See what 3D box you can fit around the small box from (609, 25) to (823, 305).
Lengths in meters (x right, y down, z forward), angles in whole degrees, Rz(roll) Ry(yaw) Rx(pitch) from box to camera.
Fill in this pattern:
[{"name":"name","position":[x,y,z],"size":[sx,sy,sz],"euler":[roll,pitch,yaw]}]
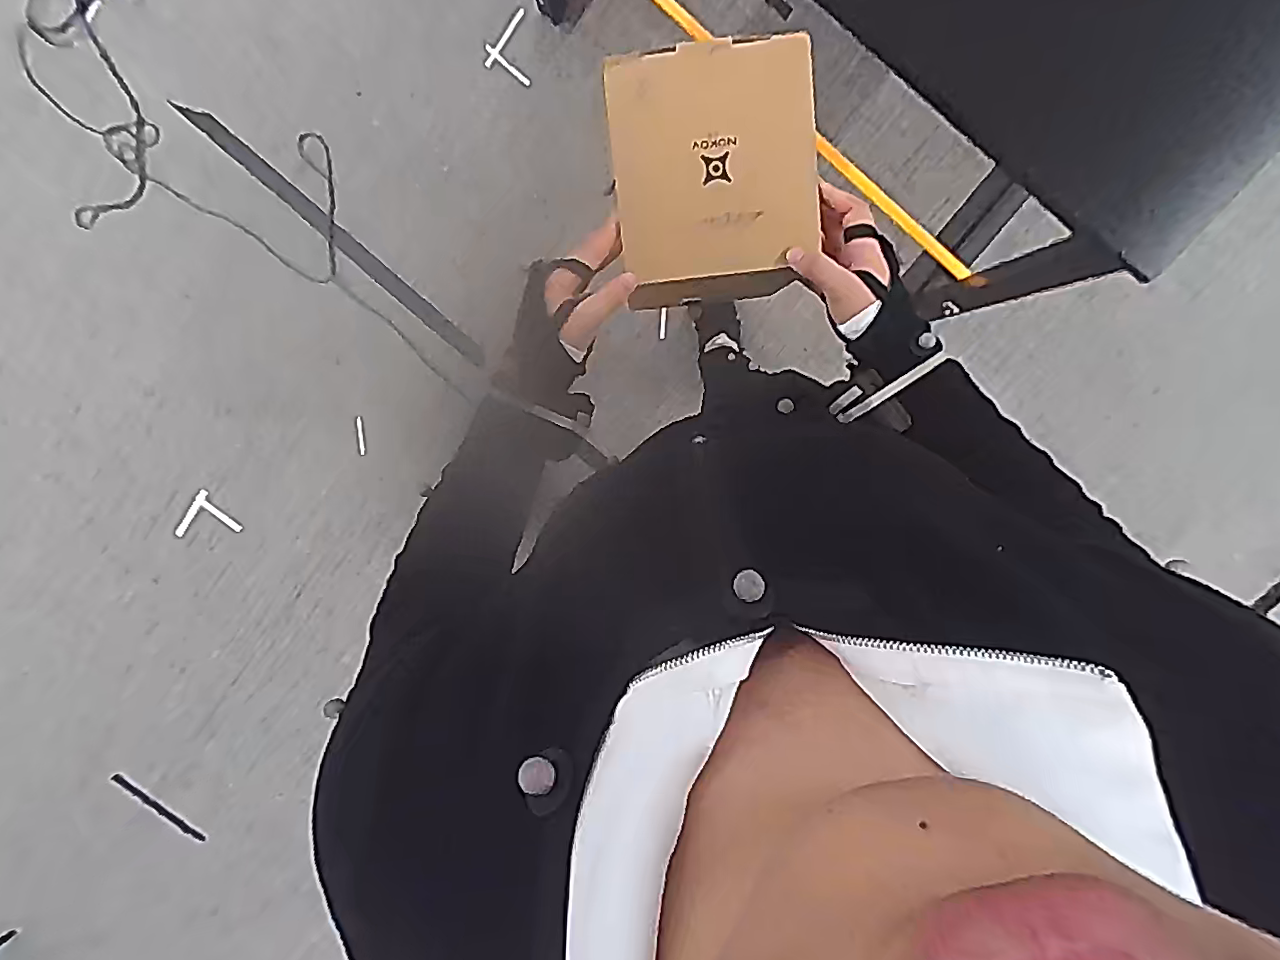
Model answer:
[{"name":"small box","position":[0.062,-0.275,0.513],"size":[0.168,0.176,0.179],"euler":[-6,100,1]}]
